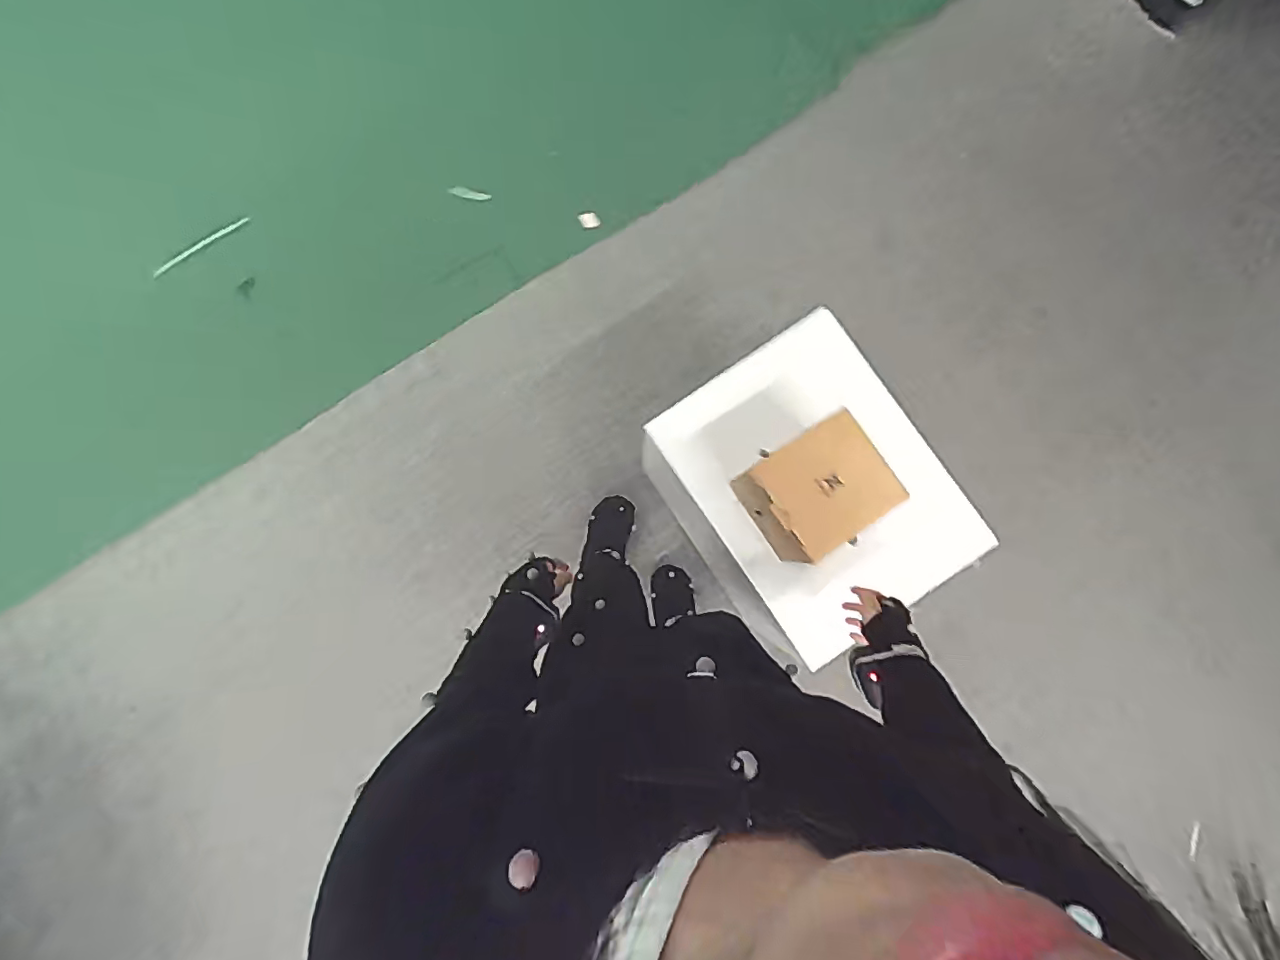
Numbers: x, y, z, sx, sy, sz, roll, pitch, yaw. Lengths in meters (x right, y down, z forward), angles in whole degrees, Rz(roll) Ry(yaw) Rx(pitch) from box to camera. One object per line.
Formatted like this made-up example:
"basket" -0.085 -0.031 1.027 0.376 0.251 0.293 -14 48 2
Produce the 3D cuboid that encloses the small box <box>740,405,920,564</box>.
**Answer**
"small box" 0.279 0.012 0.838 0.179 0.176 0.168 -33 84 -4
